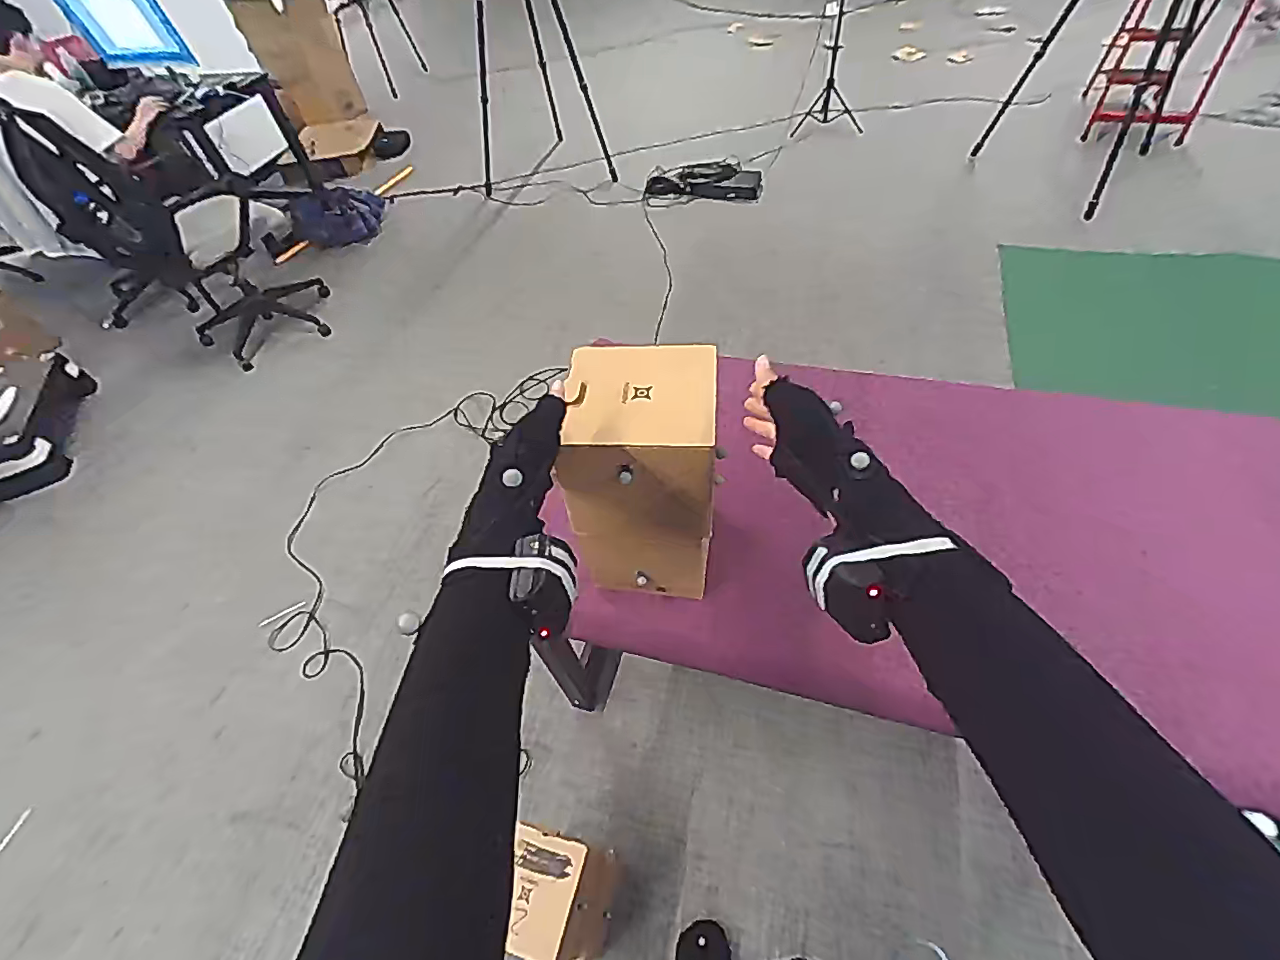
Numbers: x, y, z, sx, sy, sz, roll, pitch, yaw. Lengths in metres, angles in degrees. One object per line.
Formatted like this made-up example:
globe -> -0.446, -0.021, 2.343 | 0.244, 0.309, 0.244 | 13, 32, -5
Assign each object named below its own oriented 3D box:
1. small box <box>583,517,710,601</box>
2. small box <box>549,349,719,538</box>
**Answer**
small box -> 0.016, 0.054, 0.799 | 0.168, 0.176, 0.179 | 6, 51, 10
small box -> 0.005, -0.041, 0.666 | 0.179, 0.176, 0.168 | 2, 51, 7
